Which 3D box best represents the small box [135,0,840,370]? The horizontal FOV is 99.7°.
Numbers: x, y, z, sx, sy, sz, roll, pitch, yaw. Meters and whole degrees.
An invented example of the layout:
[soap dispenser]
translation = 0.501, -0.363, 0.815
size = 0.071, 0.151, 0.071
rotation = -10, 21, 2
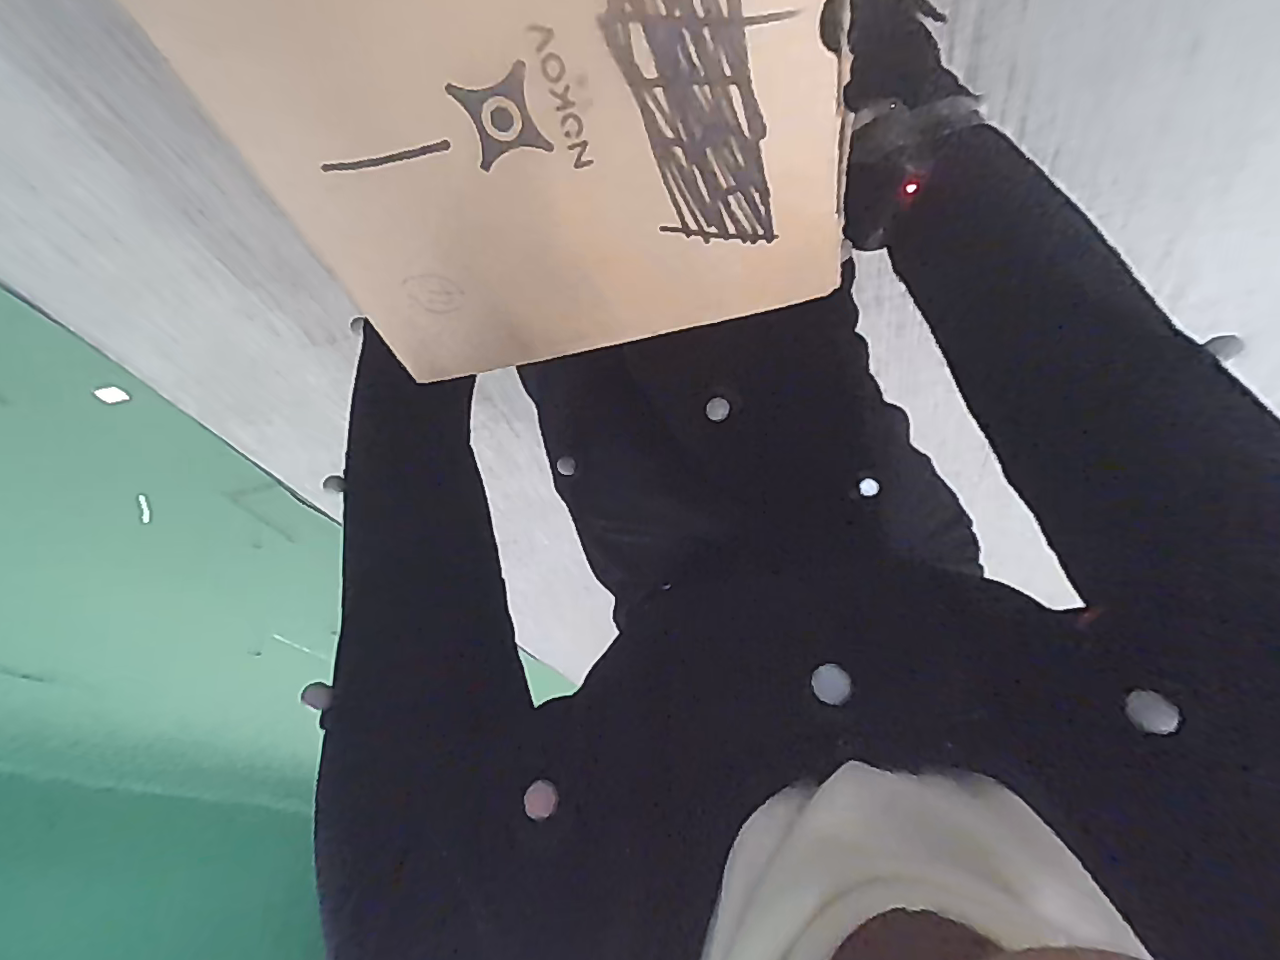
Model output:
[small box]
translation = -0.034, -0.169, 0.203
size = 0.179, 0.176, 0.168
rotation = -7, 141, 8
